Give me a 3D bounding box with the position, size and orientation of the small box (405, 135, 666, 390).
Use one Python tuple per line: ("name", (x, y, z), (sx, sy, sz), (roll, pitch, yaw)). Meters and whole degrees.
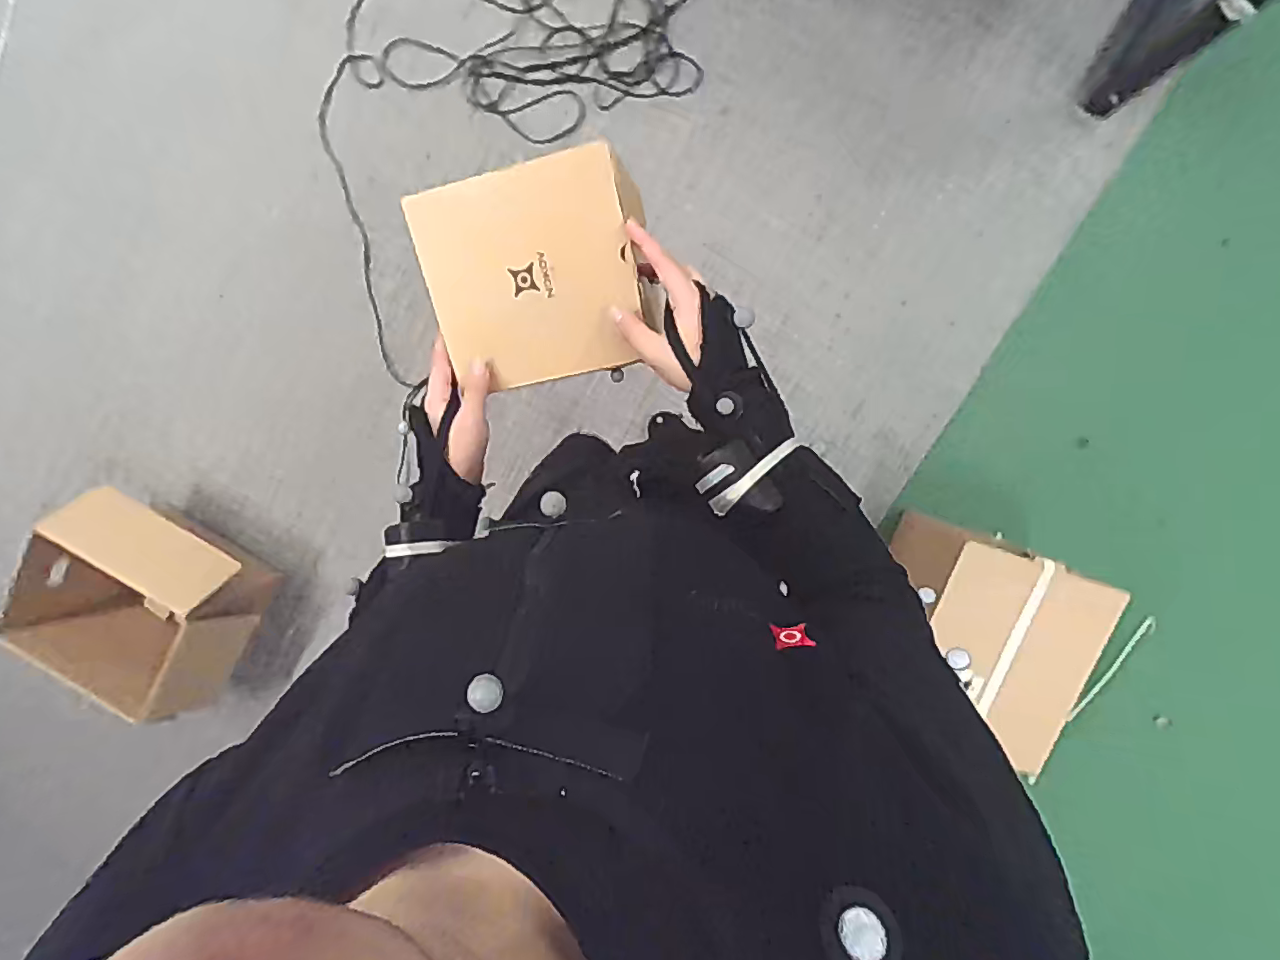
("small box", (-0.077, -0.185, 0.505), (0.179, 0.176, 0.168), (-9, 105, 8))
